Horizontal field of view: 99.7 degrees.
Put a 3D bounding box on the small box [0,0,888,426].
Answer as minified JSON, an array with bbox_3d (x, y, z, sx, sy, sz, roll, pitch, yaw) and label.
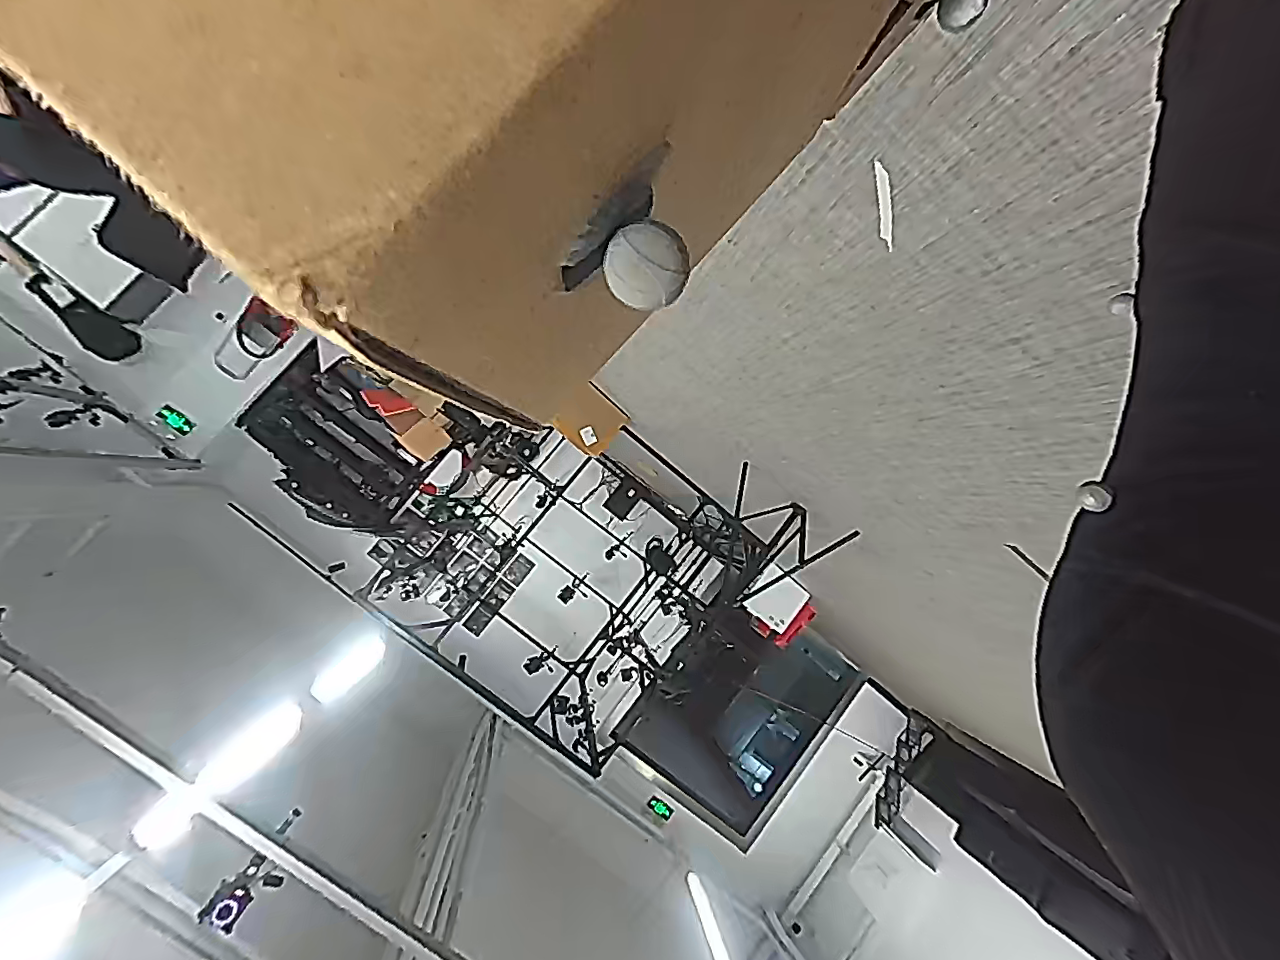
[{"bbox_3d":[-0.042,-0.134,0.138,0.168,0.176,0.179,43,-179,-3],"label":"small box"}]
